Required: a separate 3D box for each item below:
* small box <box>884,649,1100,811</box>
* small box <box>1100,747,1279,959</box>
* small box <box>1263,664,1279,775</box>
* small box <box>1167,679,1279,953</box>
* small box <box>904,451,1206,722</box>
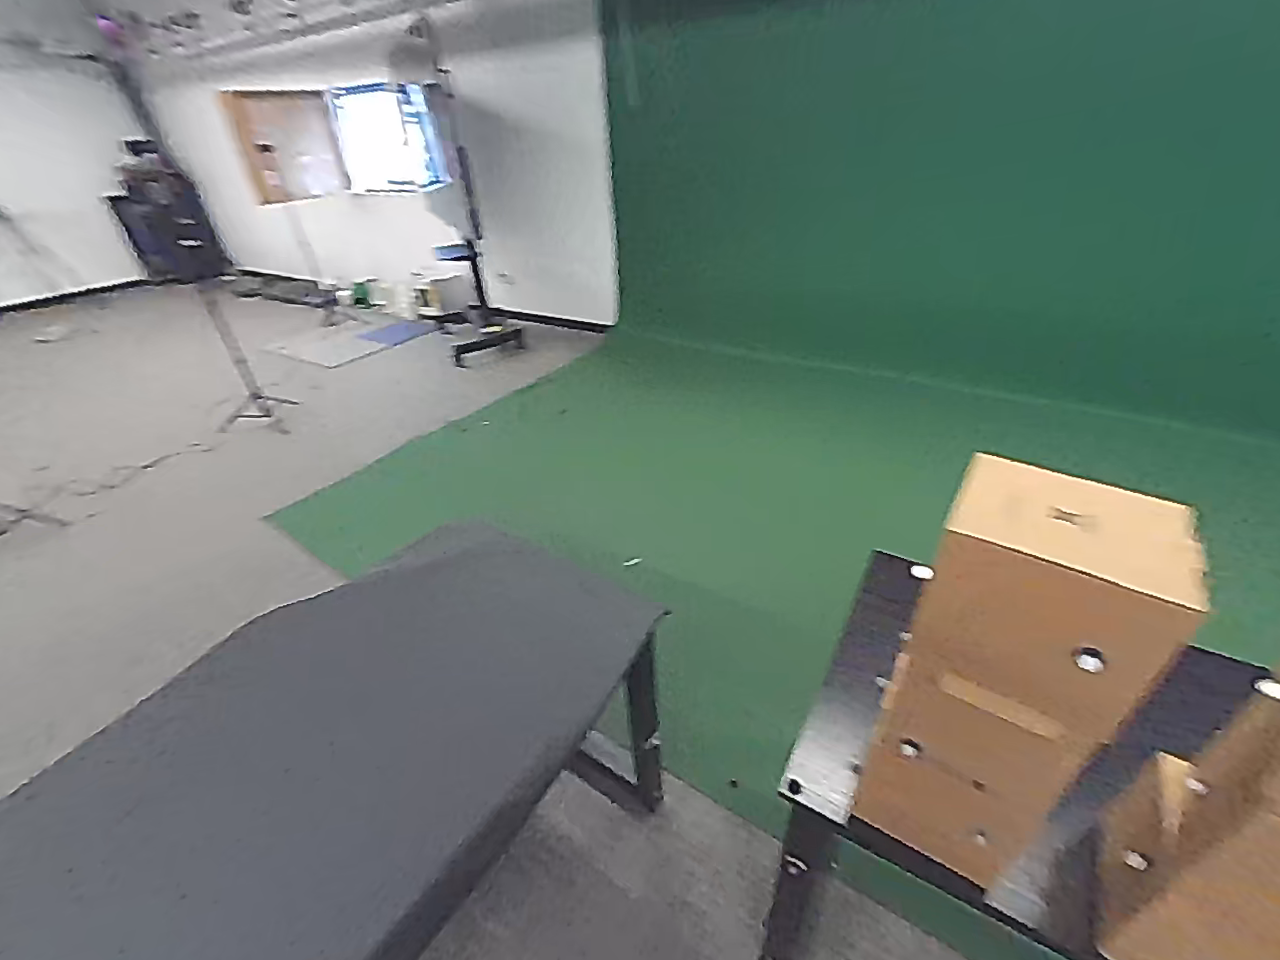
[{"bbox_3d":[0.397,0.230,0.622,0.168,0.176,0.179,20,39,30],"label":"small box"},{"bbox_3d":[0.628,0.441,0.577,0.168,0.176,0.179,20,40,31],"label":"small box"},{"bbox_3d":[0.612,0.175,0.390,0.179,0.176,0.168,-30,41,-32],"label":"small box"},{"bbox_3d":[0.619,0.320,0.467,0.179,0.176,0.168,26,44,37],"label":"small box"},{"bbox_3d":[0.384,0.099,0.526,0.179,0.176,0.168,20,38,31],"label":"small box"}]
